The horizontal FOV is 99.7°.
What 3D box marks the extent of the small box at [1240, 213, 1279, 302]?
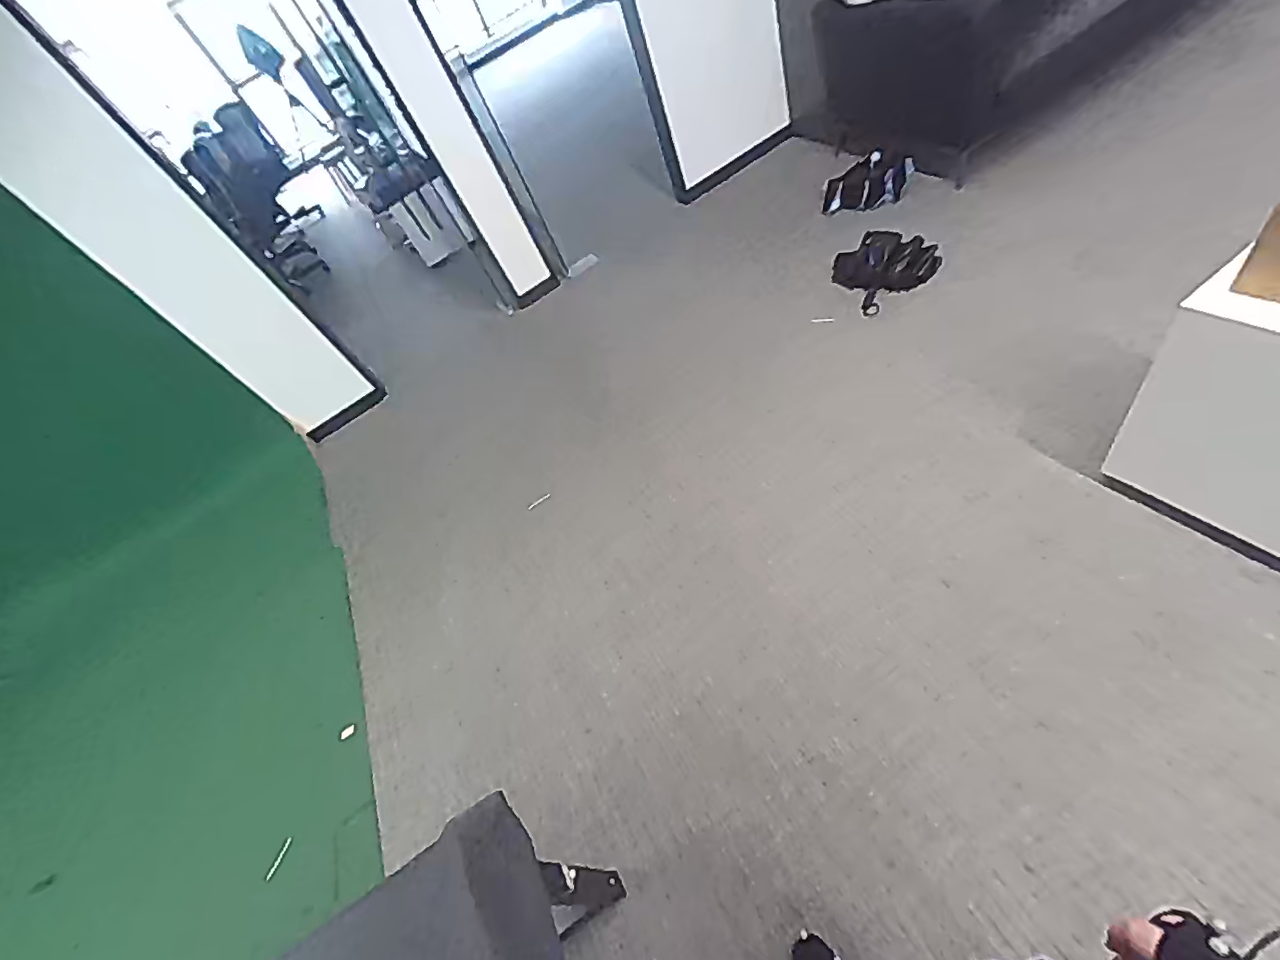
[{"bbox_3d":[1.248,-0.428,0.962,0.179,0.176,0.168,-38,48,-9],"label":"small box"}]
